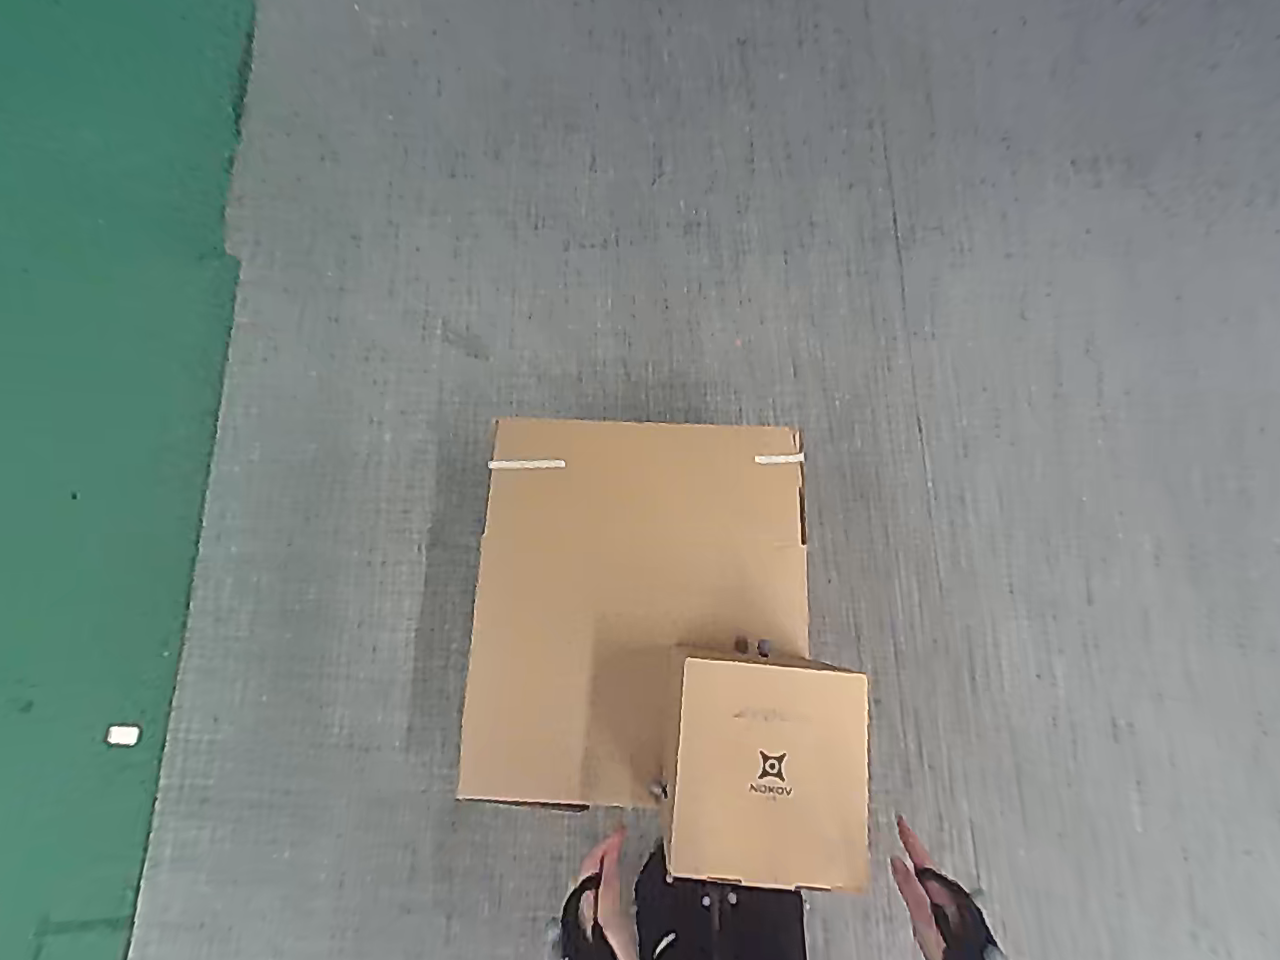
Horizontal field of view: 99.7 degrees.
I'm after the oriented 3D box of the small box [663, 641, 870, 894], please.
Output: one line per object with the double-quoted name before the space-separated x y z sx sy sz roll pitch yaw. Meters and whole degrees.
"small box" 0.113 0.264 0.540 0.168 0.176 0.179 6 77 1
